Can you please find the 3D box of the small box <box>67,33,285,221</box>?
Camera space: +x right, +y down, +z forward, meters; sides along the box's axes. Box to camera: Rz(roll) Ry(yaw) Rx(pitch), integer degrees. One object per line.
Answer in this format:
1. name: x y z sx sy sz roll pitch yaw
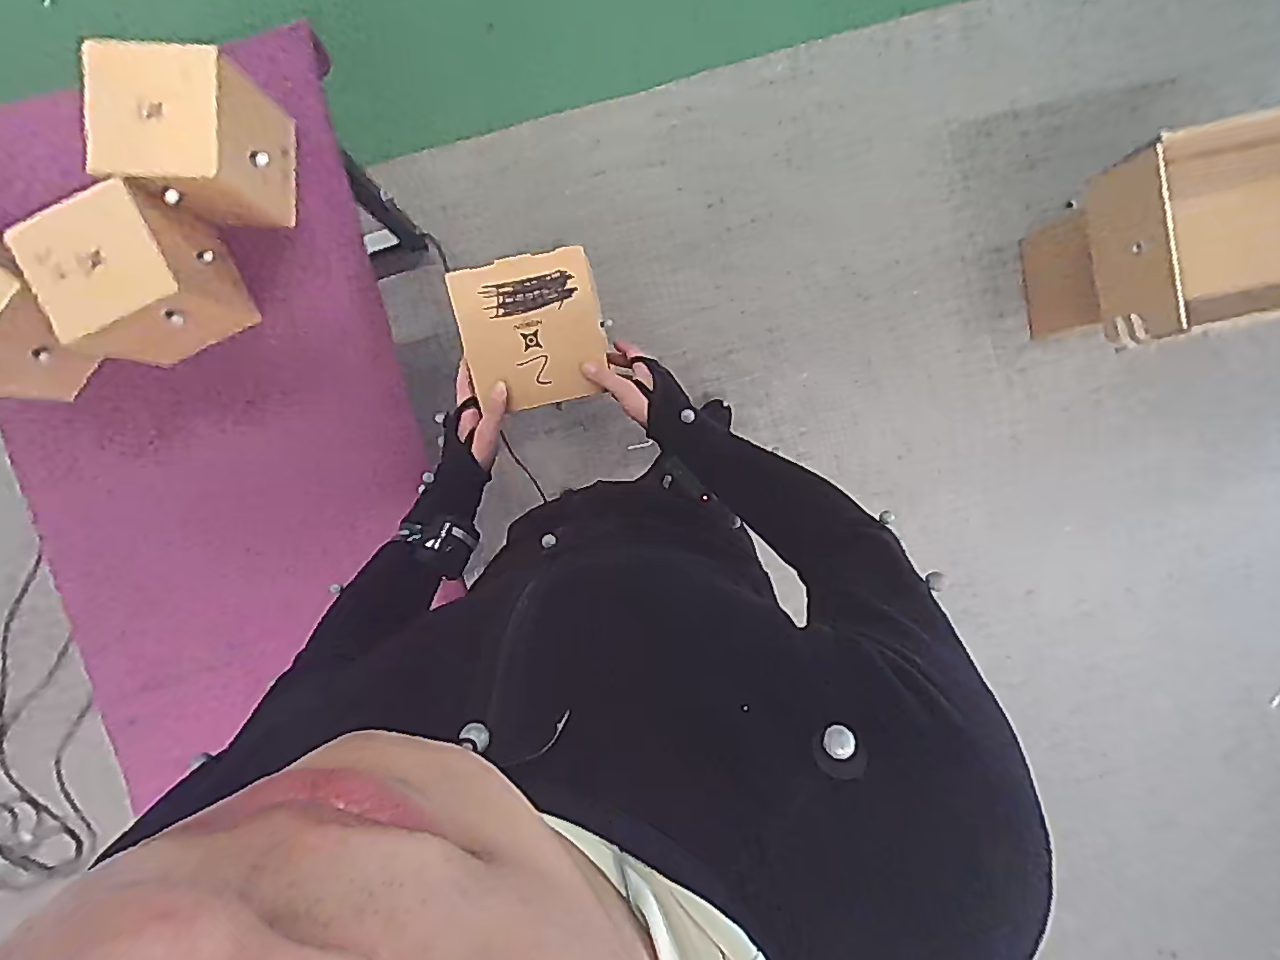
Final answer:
1. small box: -0.638 -0.485 0.769 0.179 0.176 0.168 2 95 0
